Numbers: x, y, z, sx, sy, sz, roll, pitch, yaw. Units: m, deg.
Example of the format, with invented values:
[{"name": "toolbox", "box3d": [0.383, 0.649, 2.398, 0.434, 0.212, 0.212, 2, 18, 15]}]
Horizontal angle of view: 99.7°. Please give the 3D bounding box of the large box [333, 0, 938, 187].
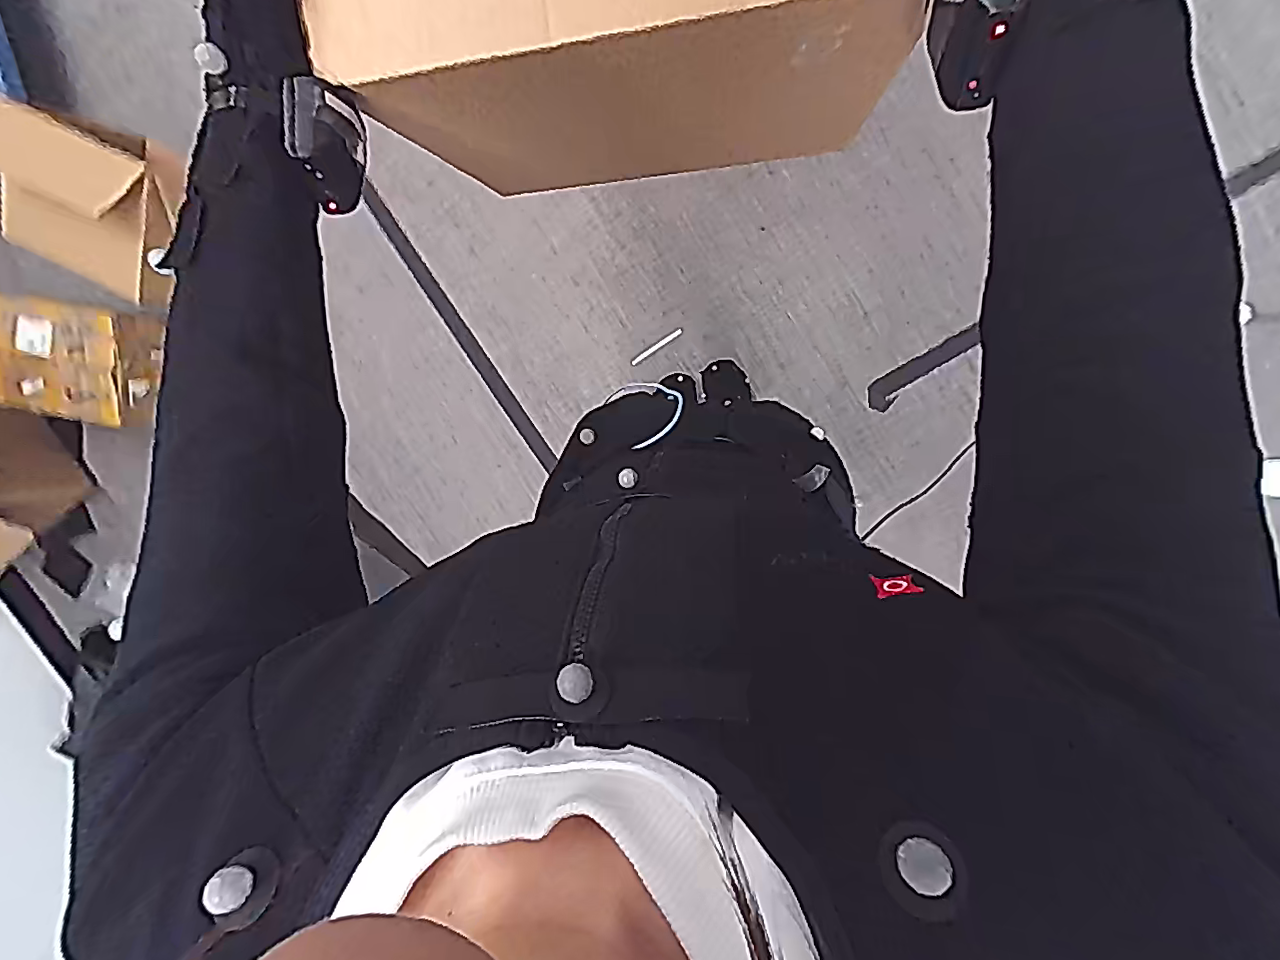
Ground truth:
[{"name": "large box", "box3d": [0.002, -0.470, 0.443, 0.408, 0.320, 0.320, -2, 105, 9]}]
